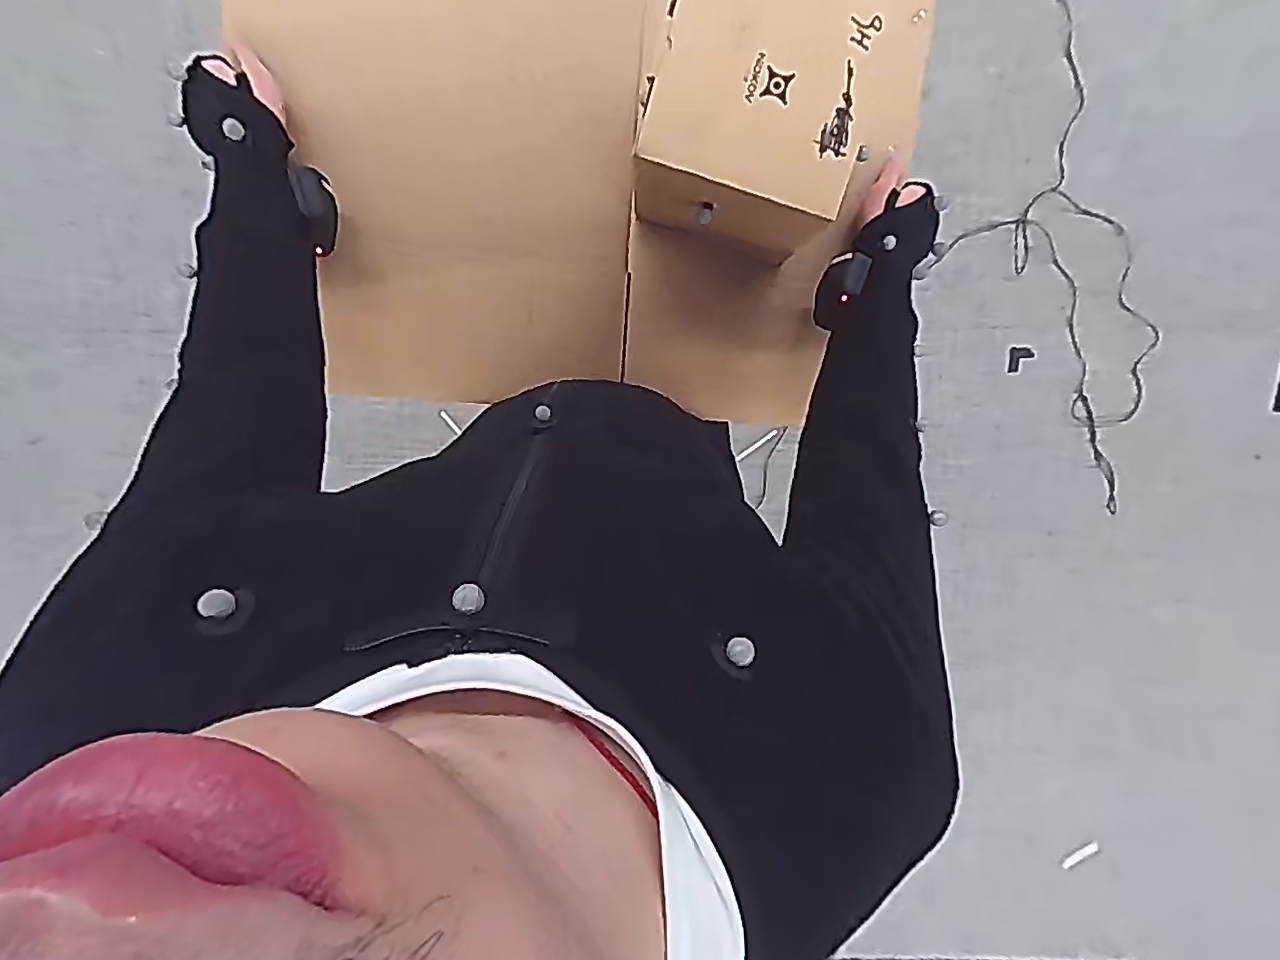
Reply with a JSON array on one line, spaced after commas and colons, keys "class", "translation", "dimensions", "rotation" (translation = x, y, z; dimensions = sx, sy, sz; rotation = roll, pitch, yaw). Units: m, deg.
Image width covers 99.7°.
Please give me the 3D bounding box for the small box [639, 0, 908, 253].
[{"class": "small box", "translation": [0.106, -0.334, 0.511], "dimensions": [0.179, 0.176, 0.168], "rotation": [17, 100, -2]}]
